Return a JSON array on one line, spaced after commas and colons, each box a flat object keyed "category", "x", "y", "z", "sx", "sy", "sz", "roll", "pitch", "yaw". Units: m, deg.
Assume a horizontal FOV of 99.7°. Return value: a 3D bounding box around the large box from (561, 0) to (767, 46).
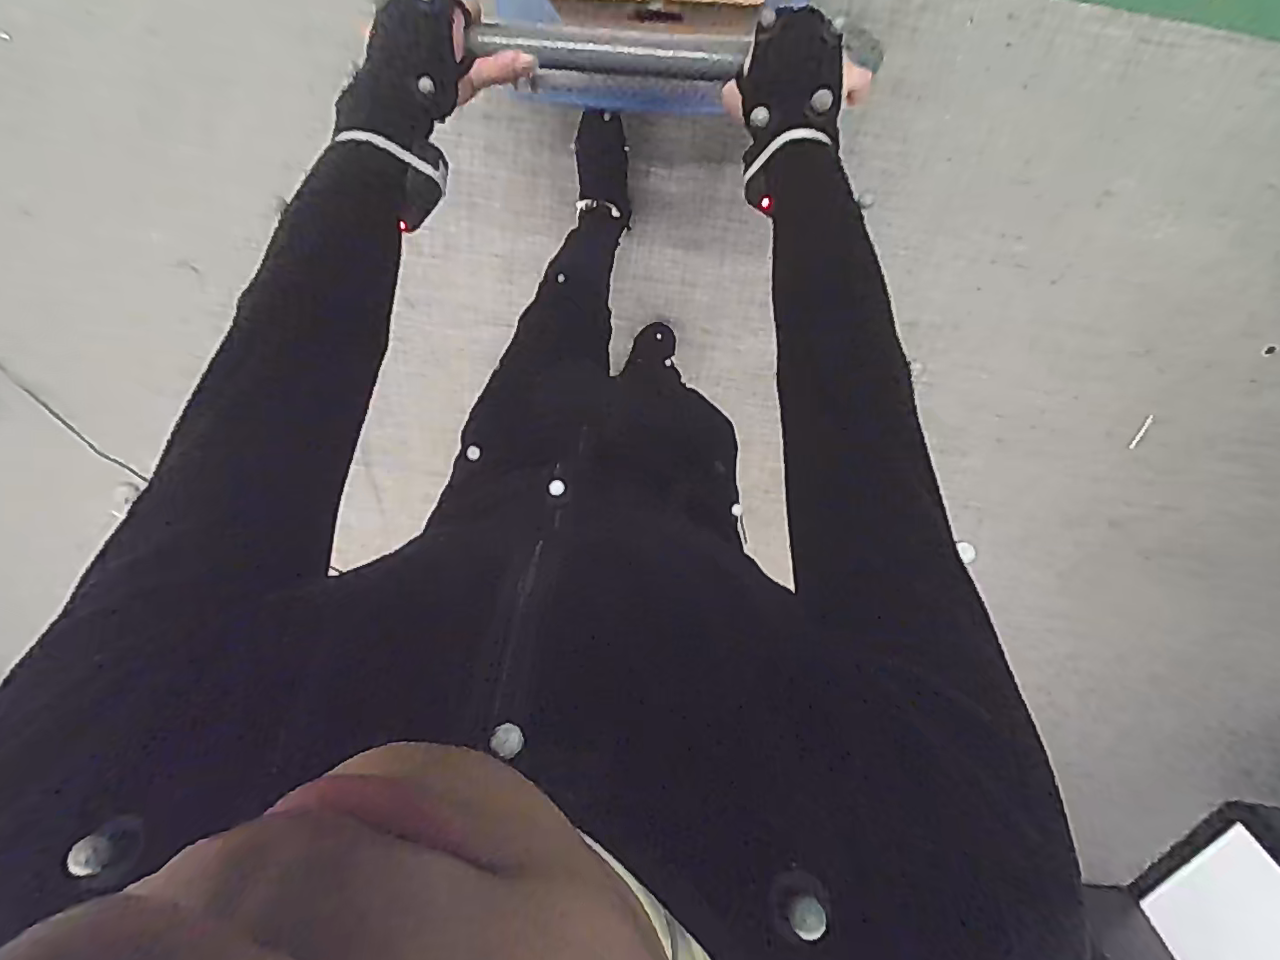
[{"category": "large box", "x": 0.046, "y": -0.922, "z": 0.794, "sx": 0.320, "sy": 0.320, "sz": 0.408, "roll": 4, "pitch": 119, "yaw": 1}]
